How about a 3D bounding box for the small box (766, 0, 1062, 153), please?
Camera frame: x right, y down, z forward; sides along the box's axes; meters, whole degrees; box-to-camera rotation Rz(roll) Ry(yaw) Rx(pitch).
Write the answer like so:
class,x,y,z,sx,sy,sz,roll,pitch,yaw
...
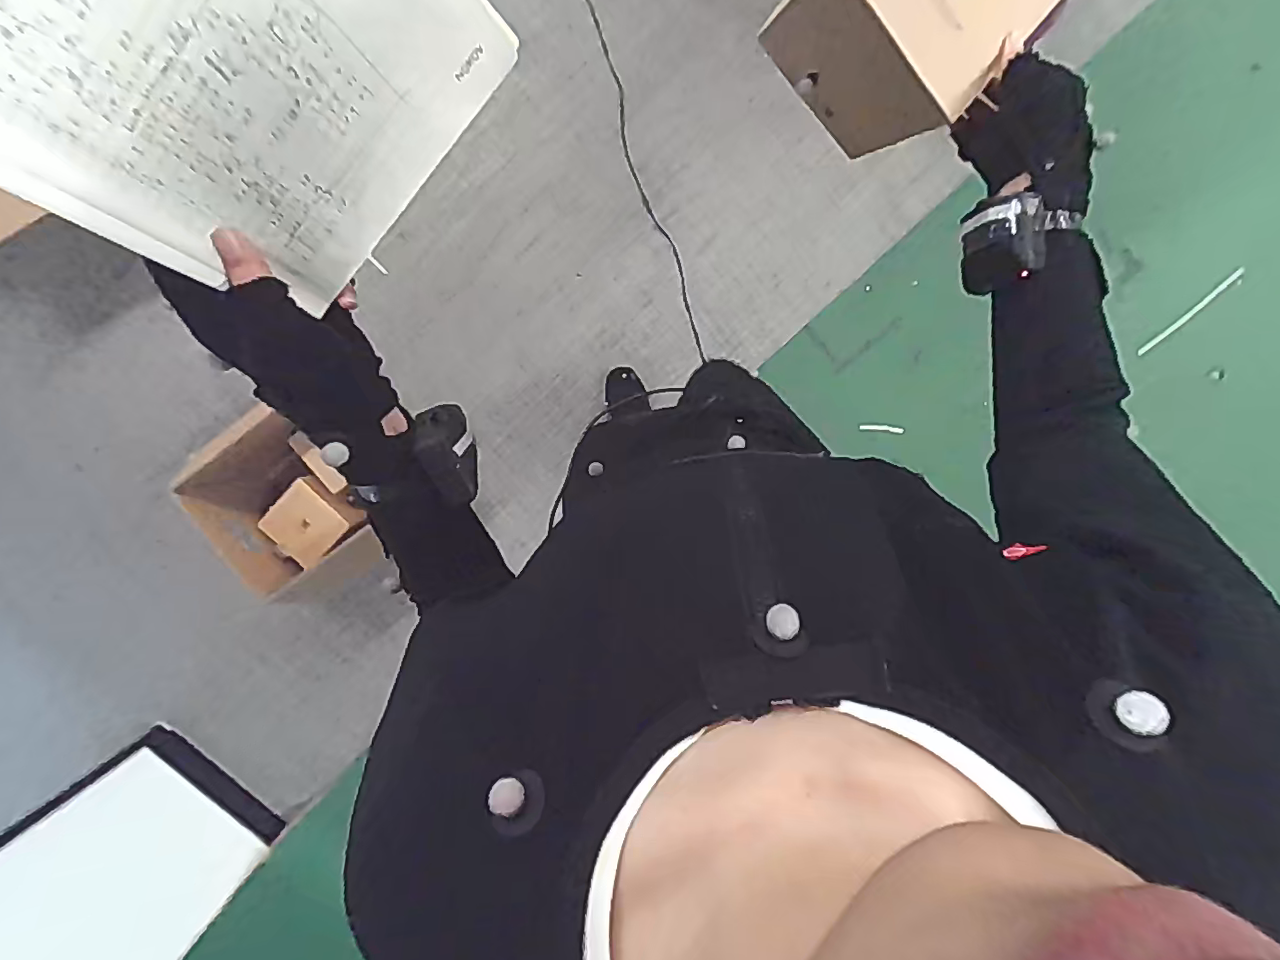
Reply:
class,x,y,z,sx,sy,sz,roll,pitch,yaw
small box,0.247,-0.440,0.488,0.168,0.176,0.179,37,101,-20
